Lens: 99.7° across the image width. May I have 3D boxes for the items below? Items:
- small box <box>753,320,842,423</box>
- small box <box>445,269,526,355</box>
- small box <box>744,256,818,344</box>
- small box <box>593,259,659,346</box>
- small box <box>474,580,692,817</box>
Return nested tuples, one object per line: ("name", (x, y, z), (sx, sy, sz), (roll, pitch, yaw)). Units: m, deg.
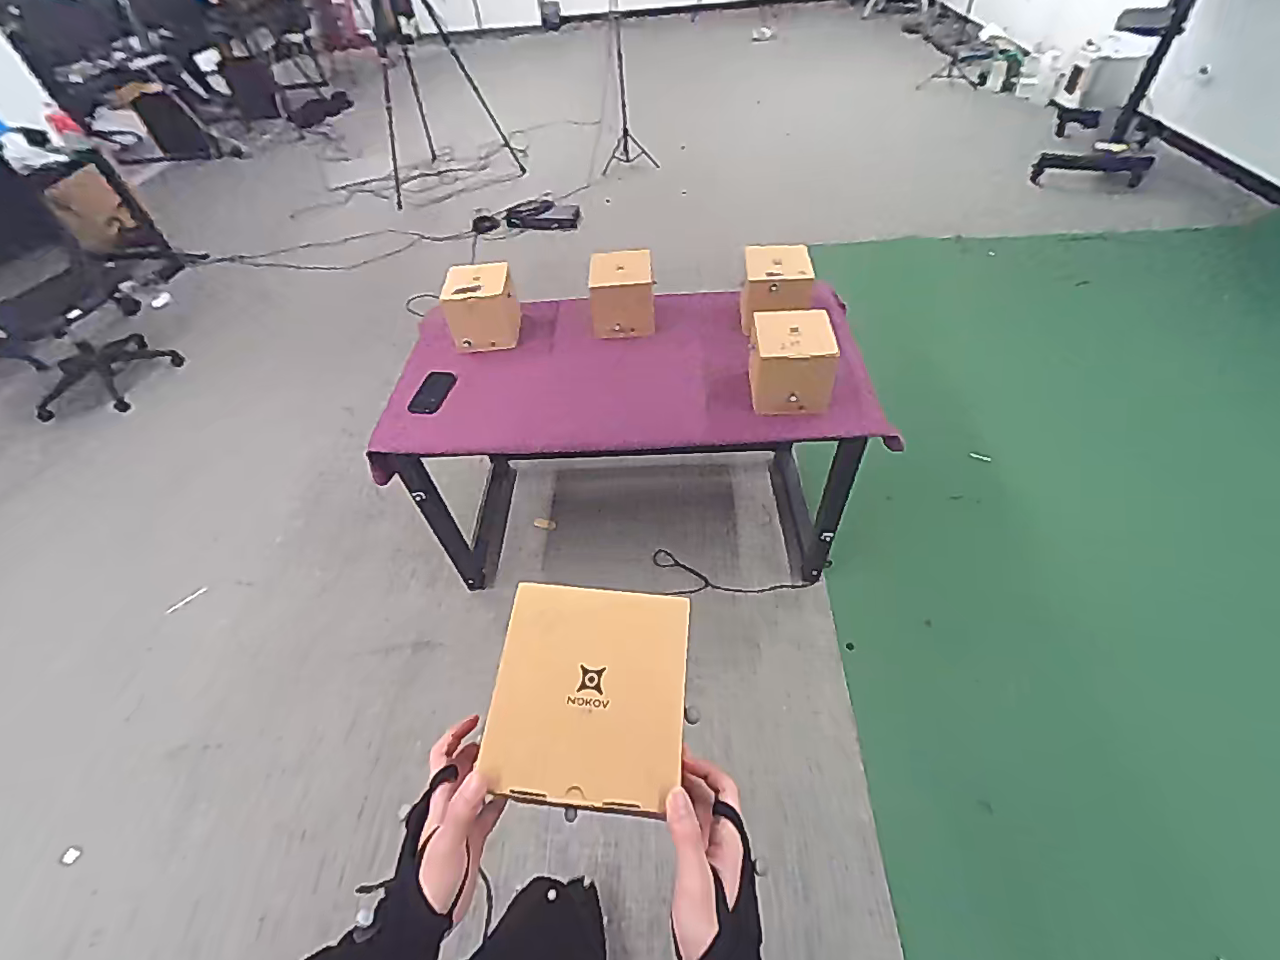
("small box", (0.355, -0.252, 1.257), (0.168, 0.176, 0.179), (0, 49, 6))
("small box", (-0.423, -0.464, 1.511), (0.168, 0.176, 0.179), (-4, 48, 1))
("small box", (0.374, -0.487, 1.469), (0.168, 0.176, 0.179), (0, 48, 6))
("small box", (-0.035, -0.494, 1.509), (0.168, 0.176, 0.179), (-2, 49, 4))
("small box", (-0.043, 0.218, 0.531), (0.168, 0.176, 0.179), (5, 58, 3))
